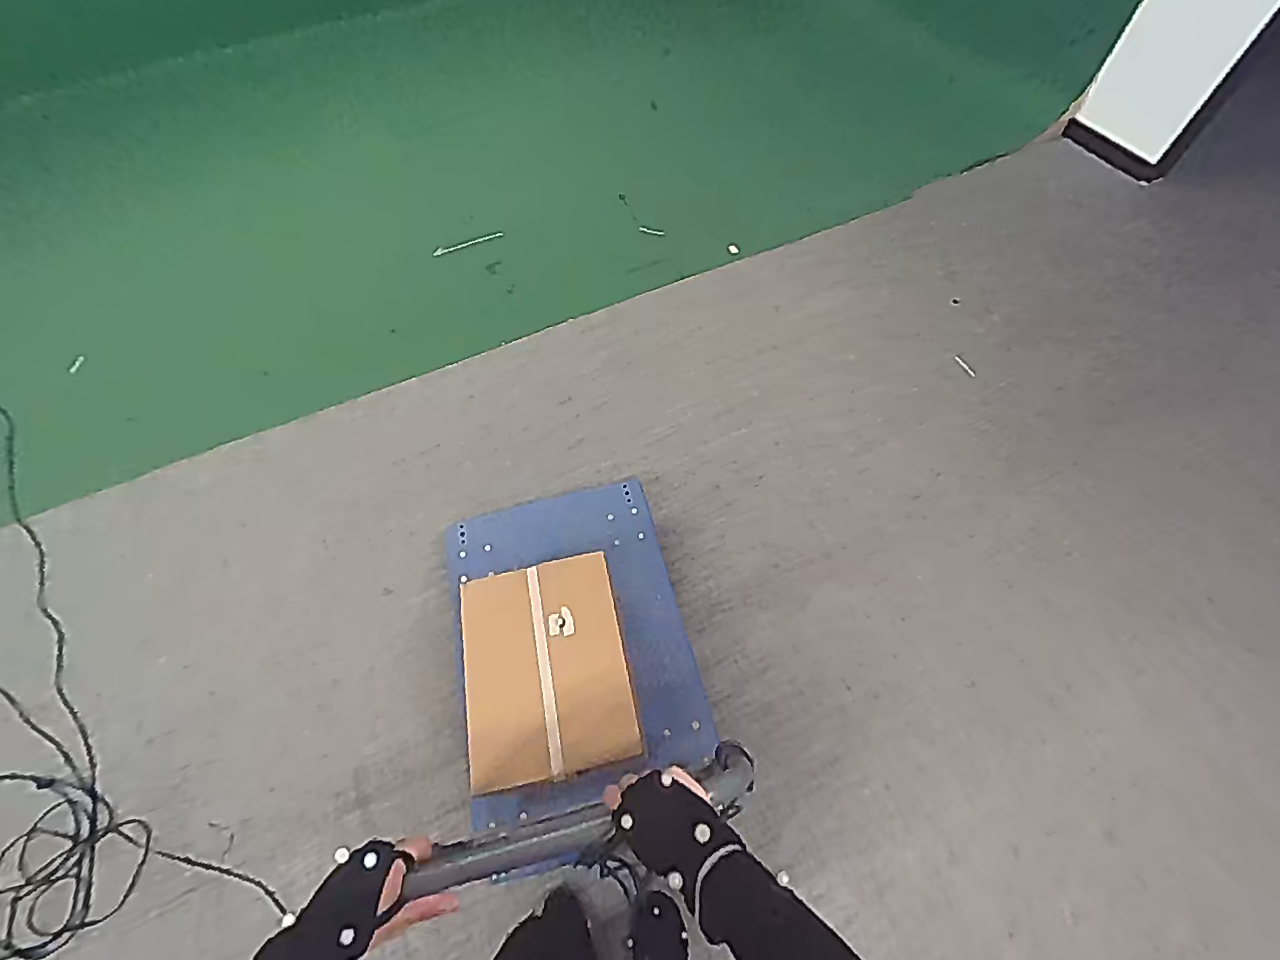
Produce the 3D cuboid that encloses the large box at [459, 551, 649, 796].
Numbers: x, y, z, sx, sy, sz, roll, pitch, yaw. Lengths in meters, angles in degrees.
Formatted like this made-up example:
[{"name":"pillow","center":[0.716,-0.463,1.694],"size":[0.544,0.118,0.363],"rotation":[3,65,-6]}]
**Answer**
[{"name":"large box","center":[-0.178,0.425,1.176],"size":[0.320,0.320,0.408],"rotation":[-12,60,-4]}]
